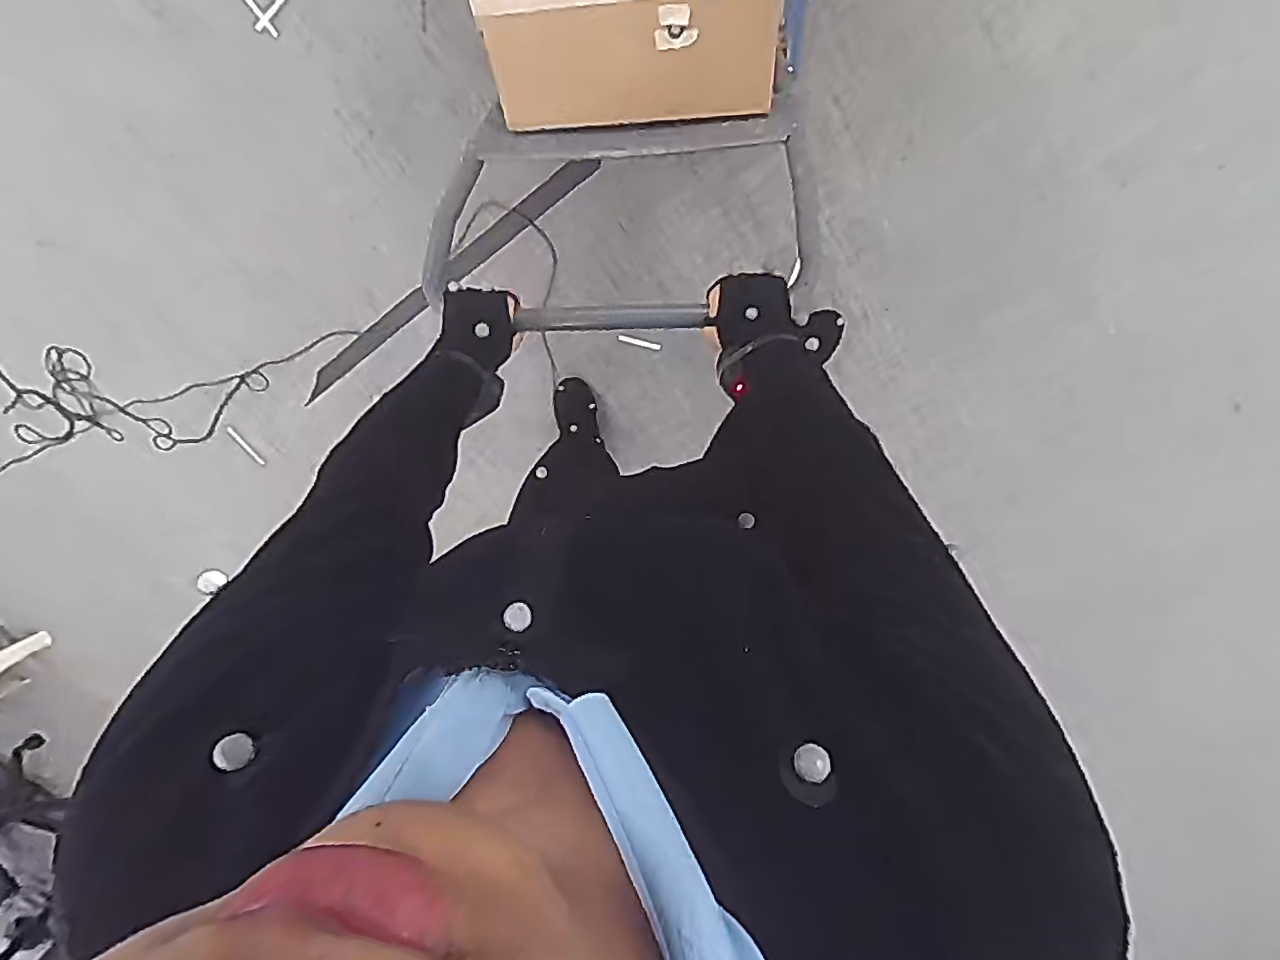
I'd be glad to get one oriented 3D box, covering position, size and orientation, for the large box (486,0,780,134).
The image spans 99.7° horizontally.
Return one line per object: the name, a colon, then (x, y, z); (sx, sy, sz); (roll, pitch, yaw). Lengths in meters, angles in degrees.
large box: (-0.006, -0.767, 0.810); (0.408, 0.320, 0.320); (-1, 142, 7)
